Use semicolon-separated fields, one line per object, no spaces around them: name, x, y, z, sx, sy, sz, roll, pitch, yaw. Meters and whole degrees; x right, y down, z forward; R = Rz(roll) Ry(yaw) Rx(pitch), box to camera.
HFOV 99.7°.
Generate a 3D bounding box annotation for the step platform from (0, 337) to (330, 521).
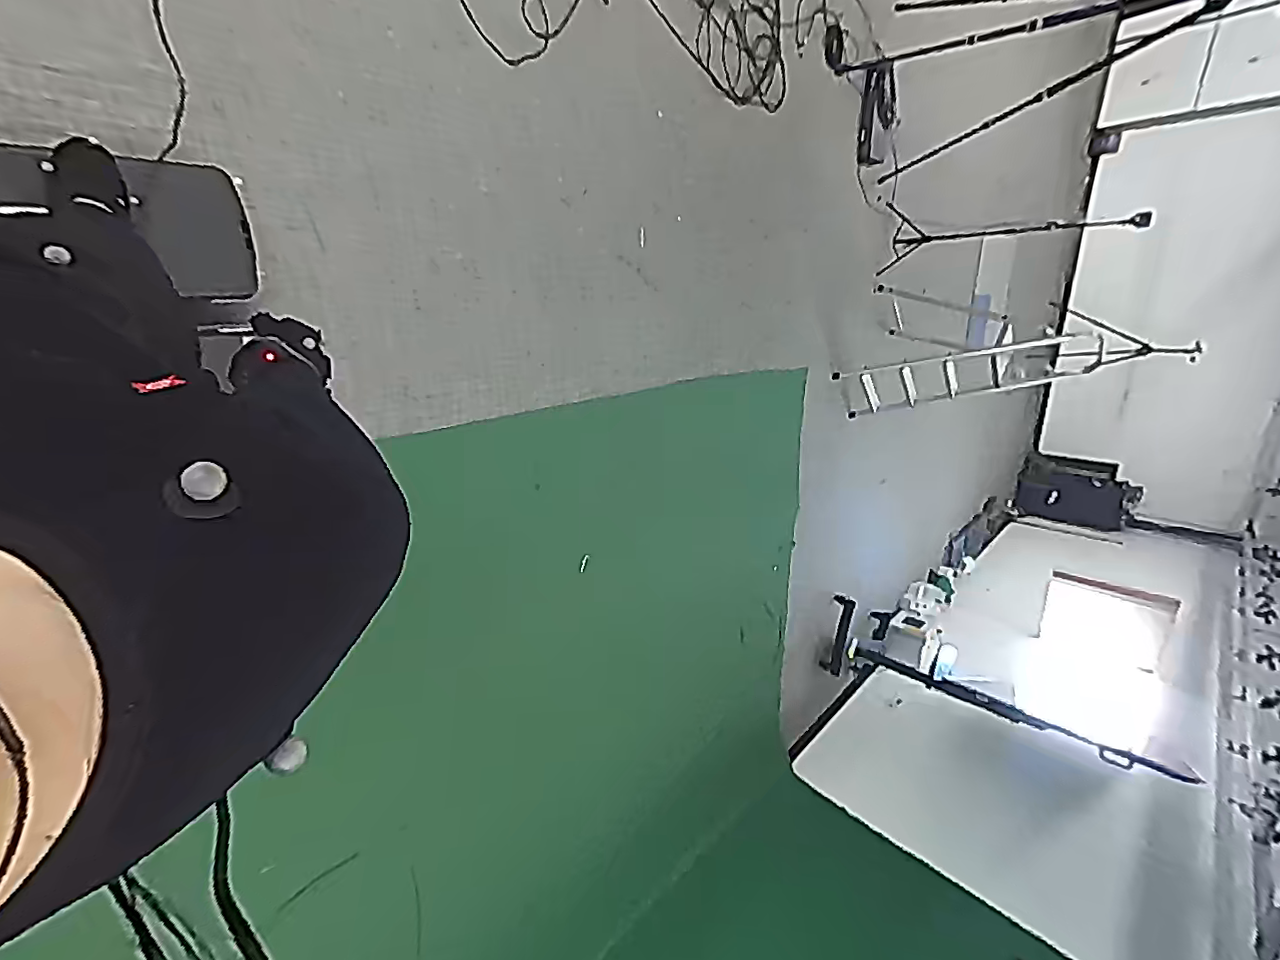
step platform;-0.972;-0.092;0.977;0.684;0.204;0.286;-19;115;-43
